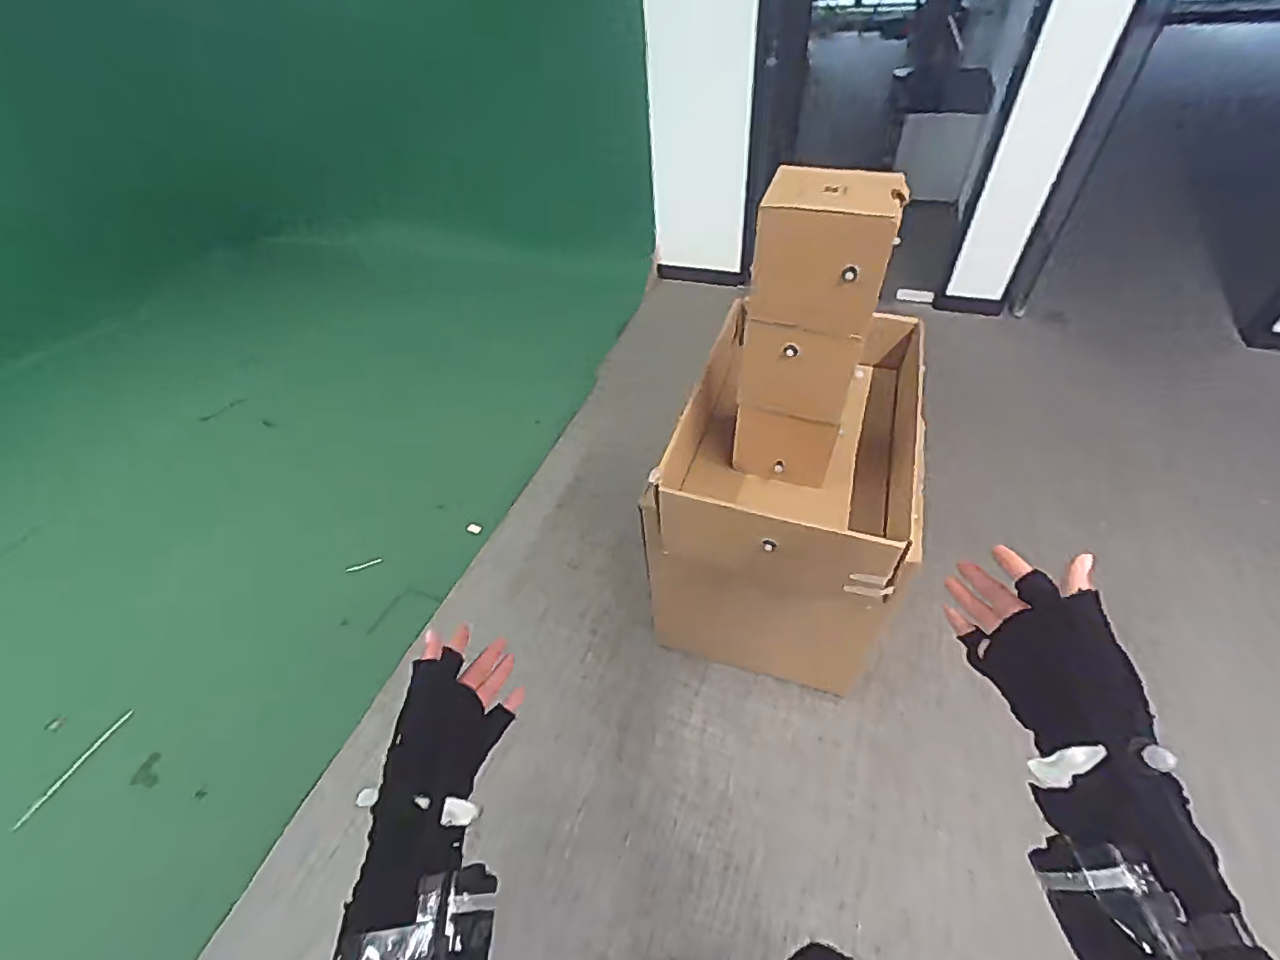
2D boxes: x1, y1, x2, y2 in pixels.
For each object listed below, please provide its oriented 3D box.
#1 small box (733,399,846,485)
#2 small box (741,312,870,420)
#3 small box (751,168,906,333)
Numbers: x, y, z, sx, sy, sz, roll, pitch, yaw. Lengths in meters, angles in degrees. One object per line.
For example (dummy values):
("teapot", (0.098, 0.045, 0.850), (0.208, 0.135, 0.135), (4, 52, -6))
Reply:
("small box", (0.285, -0.113, 1.029), (0.179, 0.176, 0.168), (14, 48, 15))
("small box", (0.277, -0.222, 0.907), (0.179, 0.176, 0.168), (16, 50, 17))
("small box", (0.270, -0.333, 0.789), (0.179, 0.176, 0.168), (12, 47, 16))
